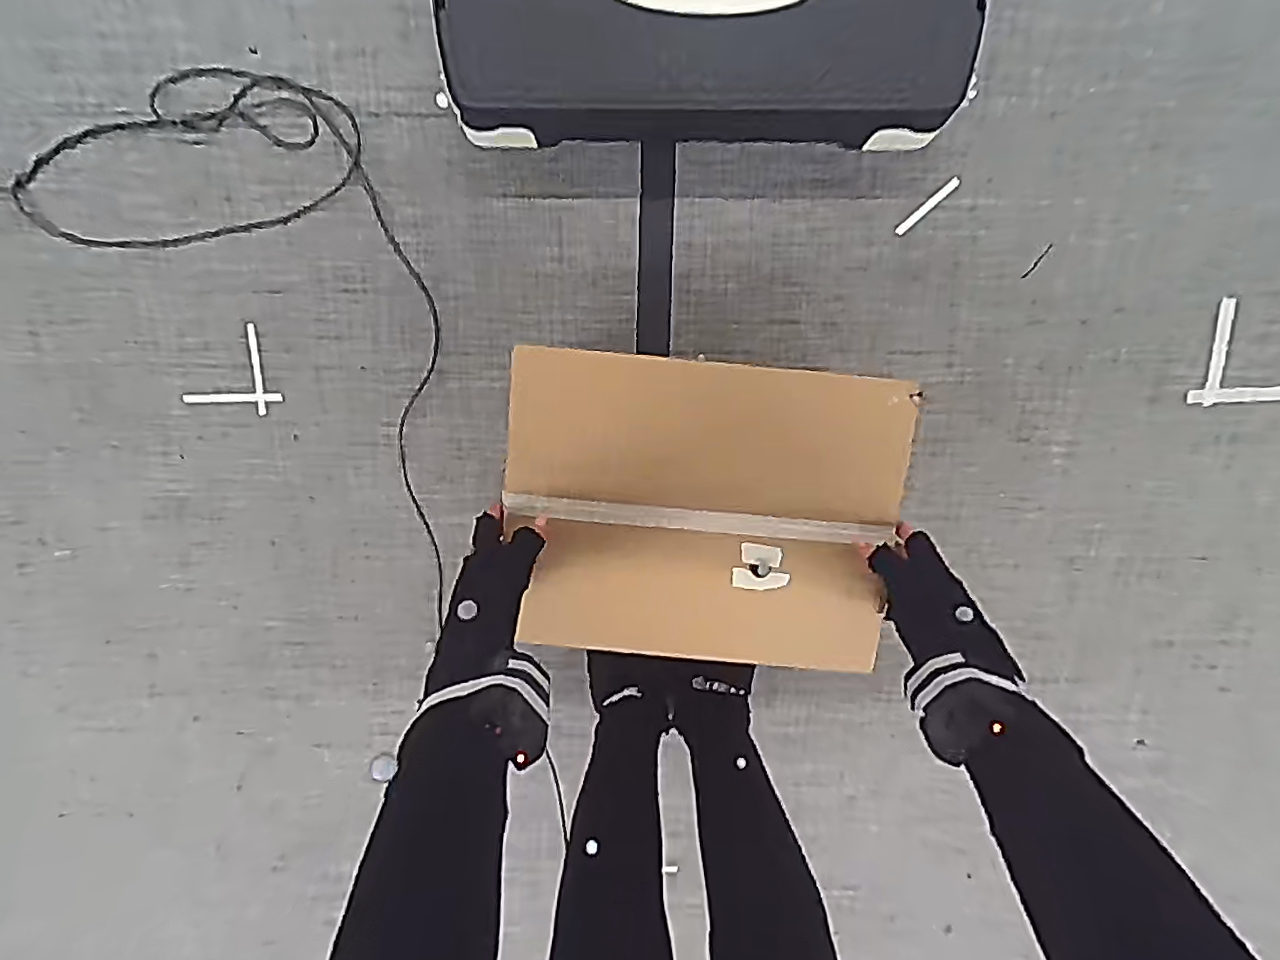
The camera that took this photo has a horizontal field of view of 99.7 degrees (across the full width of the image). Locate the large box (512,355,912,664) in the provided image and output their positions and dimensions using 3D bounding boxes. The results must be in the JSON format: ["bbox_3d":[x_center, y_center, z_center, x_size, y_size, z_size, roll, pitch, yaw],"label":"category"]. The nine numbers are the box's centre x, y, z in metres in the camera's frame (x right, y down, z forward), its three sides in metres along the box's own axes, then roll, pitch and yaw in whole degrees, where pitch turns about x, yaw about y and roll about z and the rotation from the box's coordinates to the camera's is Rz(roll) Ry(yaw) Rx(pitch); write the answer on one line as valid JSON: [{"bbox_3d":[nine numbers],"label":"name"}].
[{"bbox_3d":[0.066,0.017,0.709,0.408,0.320,0.320,4,100,-1],"label":"large box"}]
